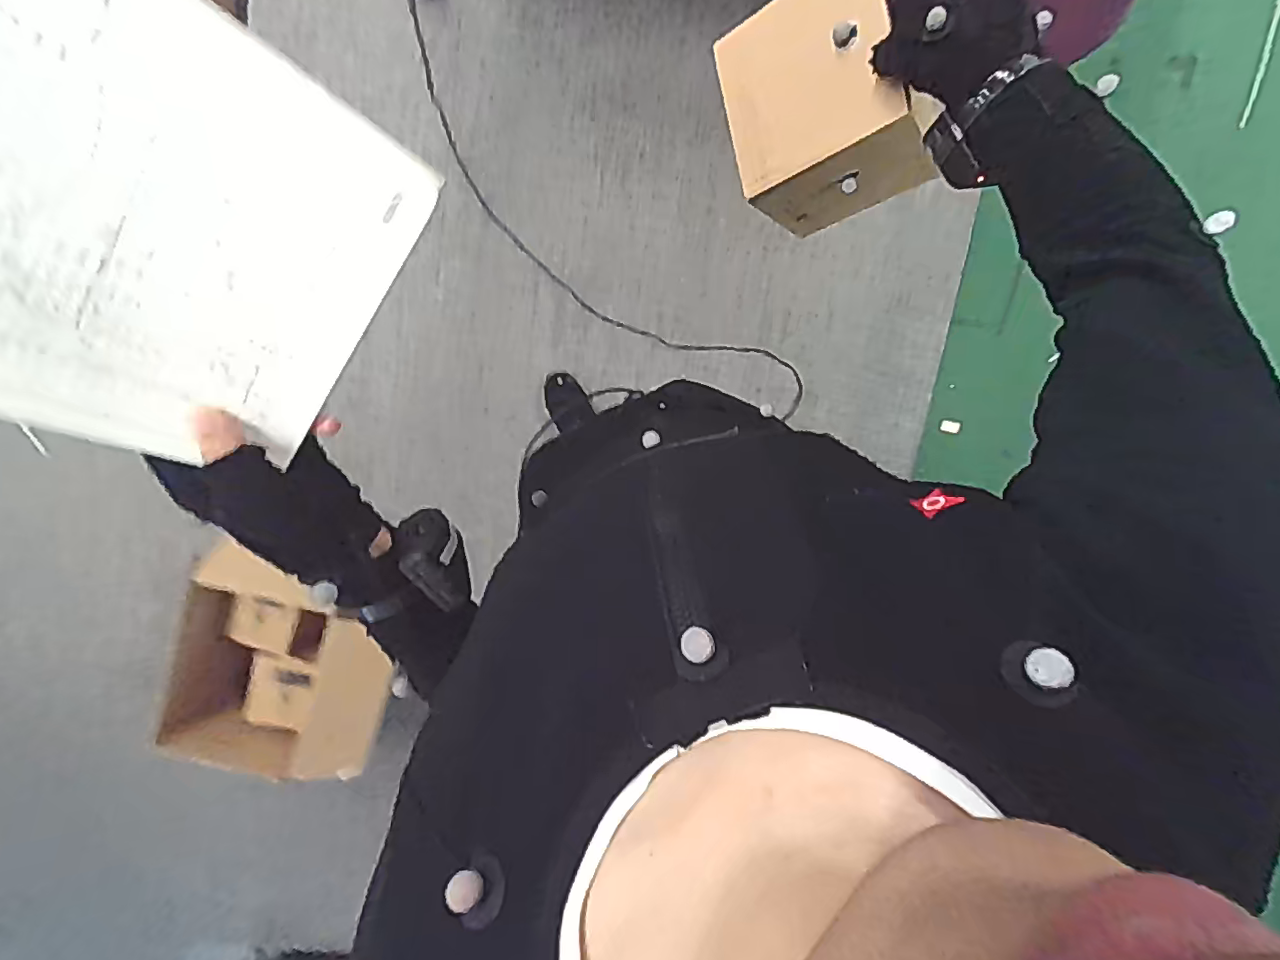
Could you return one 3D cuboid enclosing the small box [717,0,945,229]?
[{"bbox_3d":[0.205,-0.403,0.581,0.176,0.168,0.179,-13,87,37],"label":"small box"}]
